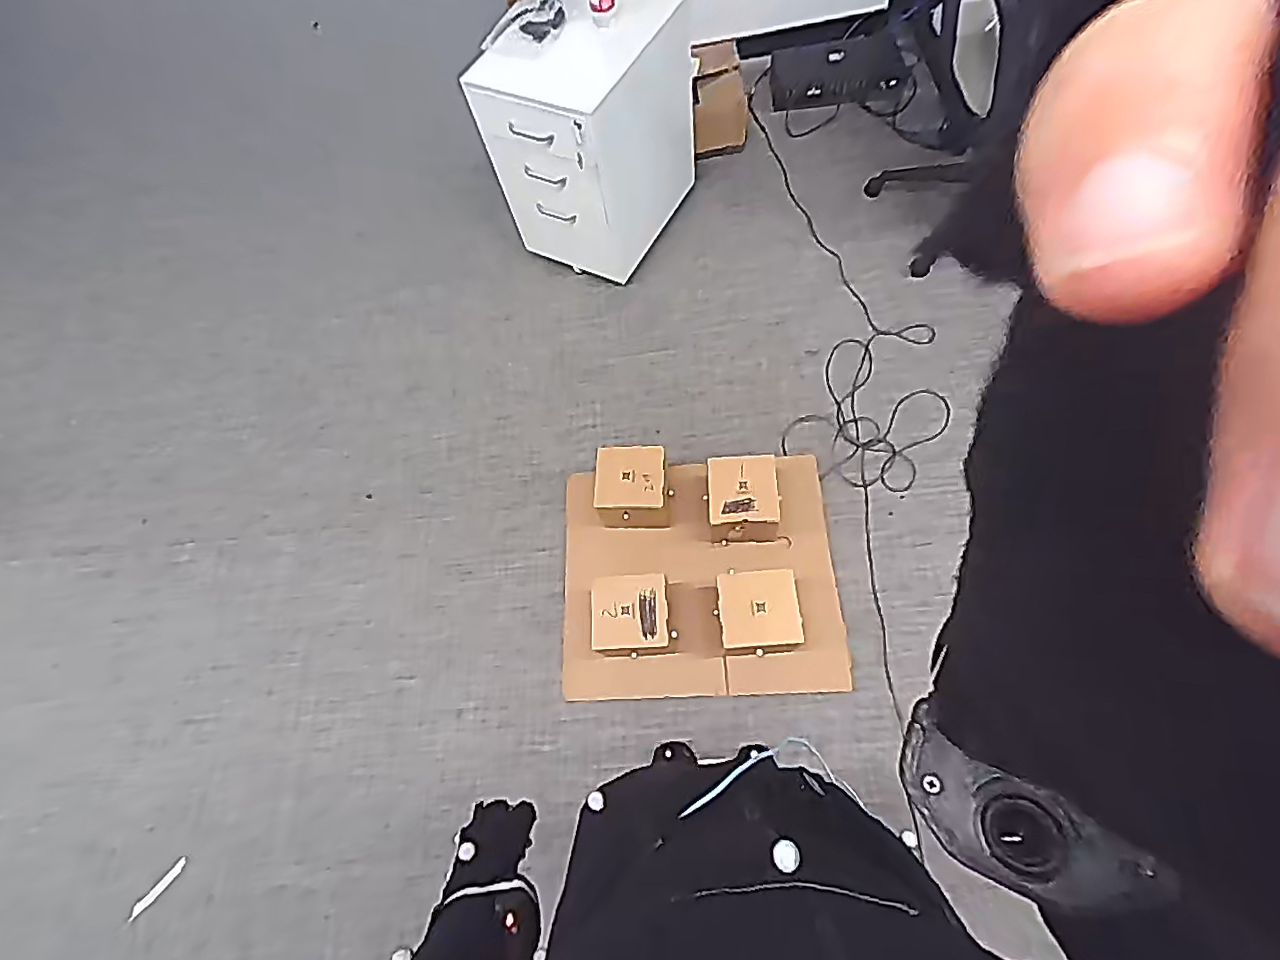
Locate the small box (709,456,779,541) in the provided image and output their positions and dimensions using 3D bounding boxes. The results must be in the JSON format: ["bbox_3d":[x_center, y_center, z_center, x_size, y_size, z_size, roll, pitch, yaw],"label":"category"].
[{"bbox_3d":[0.264,0.055,1.382,0.168,0.176,0.179,-3,66,9],"label":"small box"}]

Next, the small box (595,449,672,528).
[{"bbox_3d":[-0.011,0.027,1.429,0.179,0.176,0.168,0,68,8],"label":"small box"}]
